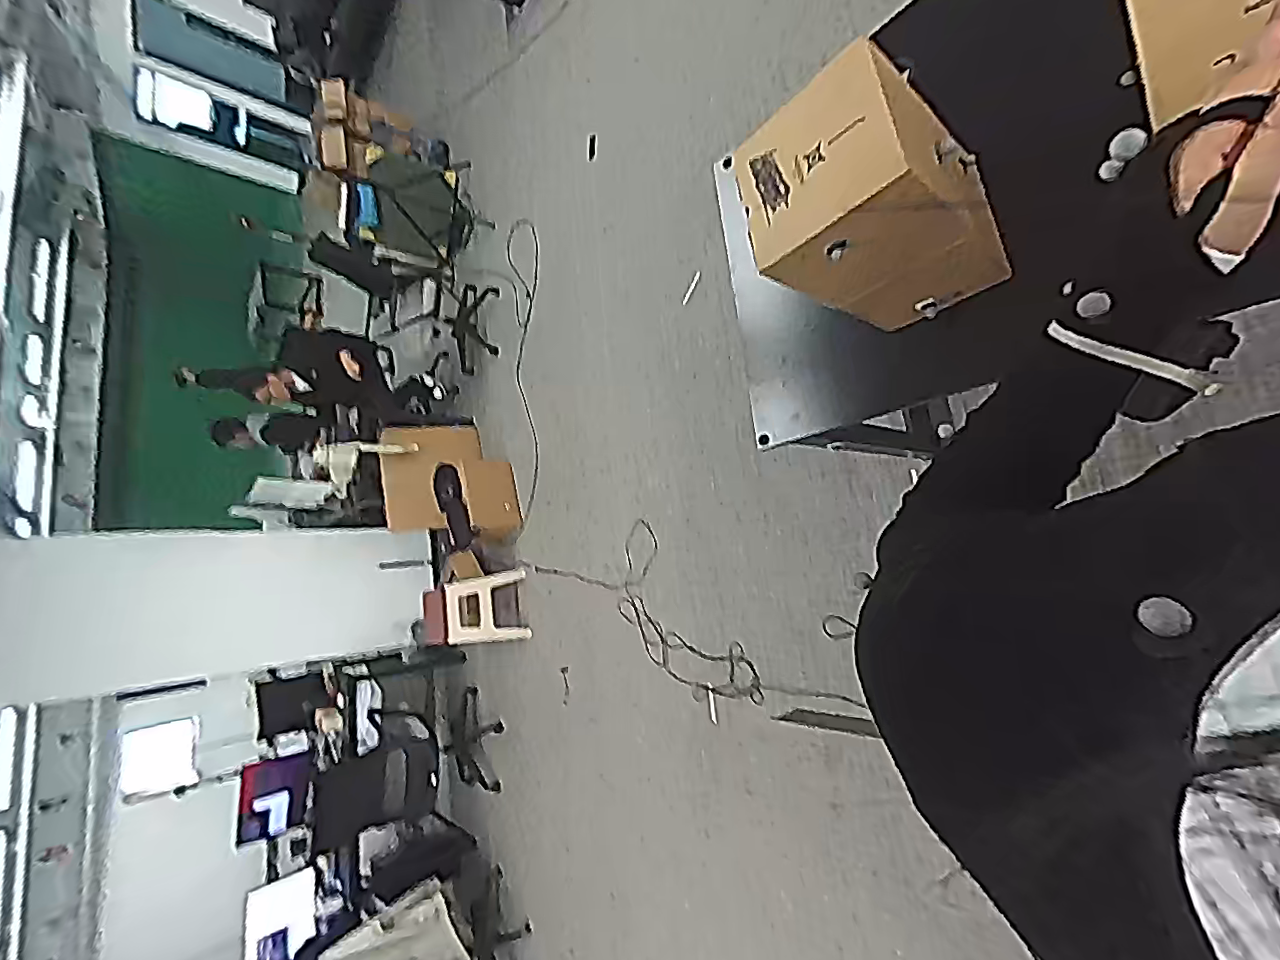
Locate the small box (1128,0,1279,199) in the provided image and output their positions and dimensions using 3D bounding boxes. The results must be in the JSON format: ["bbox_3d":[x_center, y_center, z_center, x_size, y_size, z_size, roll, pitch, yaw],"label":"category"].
[{"bbox_3d":[0.571,-0.399,0.490,0.168,0.176,0.179,-12,79,49],"label":"small box"}]

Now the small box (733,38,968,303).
[{"bbox_3d":[0.238,-0.331,0.624,0.179,0.176,0.168,-24,71,46],"label":"small box"}]

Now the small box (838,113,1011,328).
[{"bbox_3d":[0.364,-0.331,0.731,0.168,0.176,0.179,-24,72,47],"label":"small box"}]
